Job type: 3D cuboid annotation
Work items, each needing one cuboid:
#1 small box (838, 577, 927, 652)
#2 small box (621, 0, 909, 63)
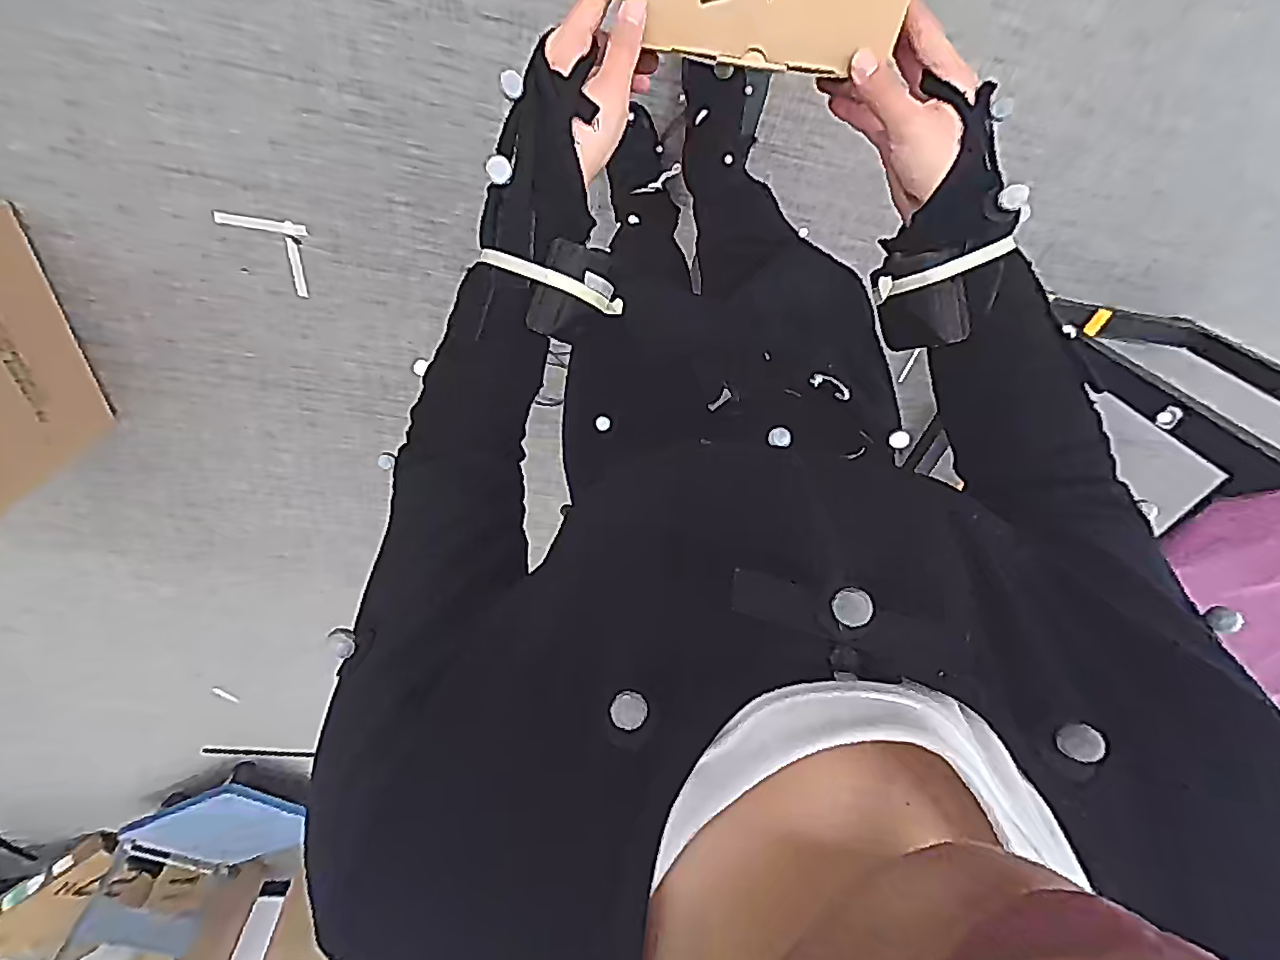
[{"bbox_3d":[0.769,0.430,1.740,0.179,0.176,0.168,7,128,-11],"label":"small box"},{"bbox_3d":[0.077,-0.373,0.319,0.168,0.176,0.179,5,132,-5],"label":"small box"}]
